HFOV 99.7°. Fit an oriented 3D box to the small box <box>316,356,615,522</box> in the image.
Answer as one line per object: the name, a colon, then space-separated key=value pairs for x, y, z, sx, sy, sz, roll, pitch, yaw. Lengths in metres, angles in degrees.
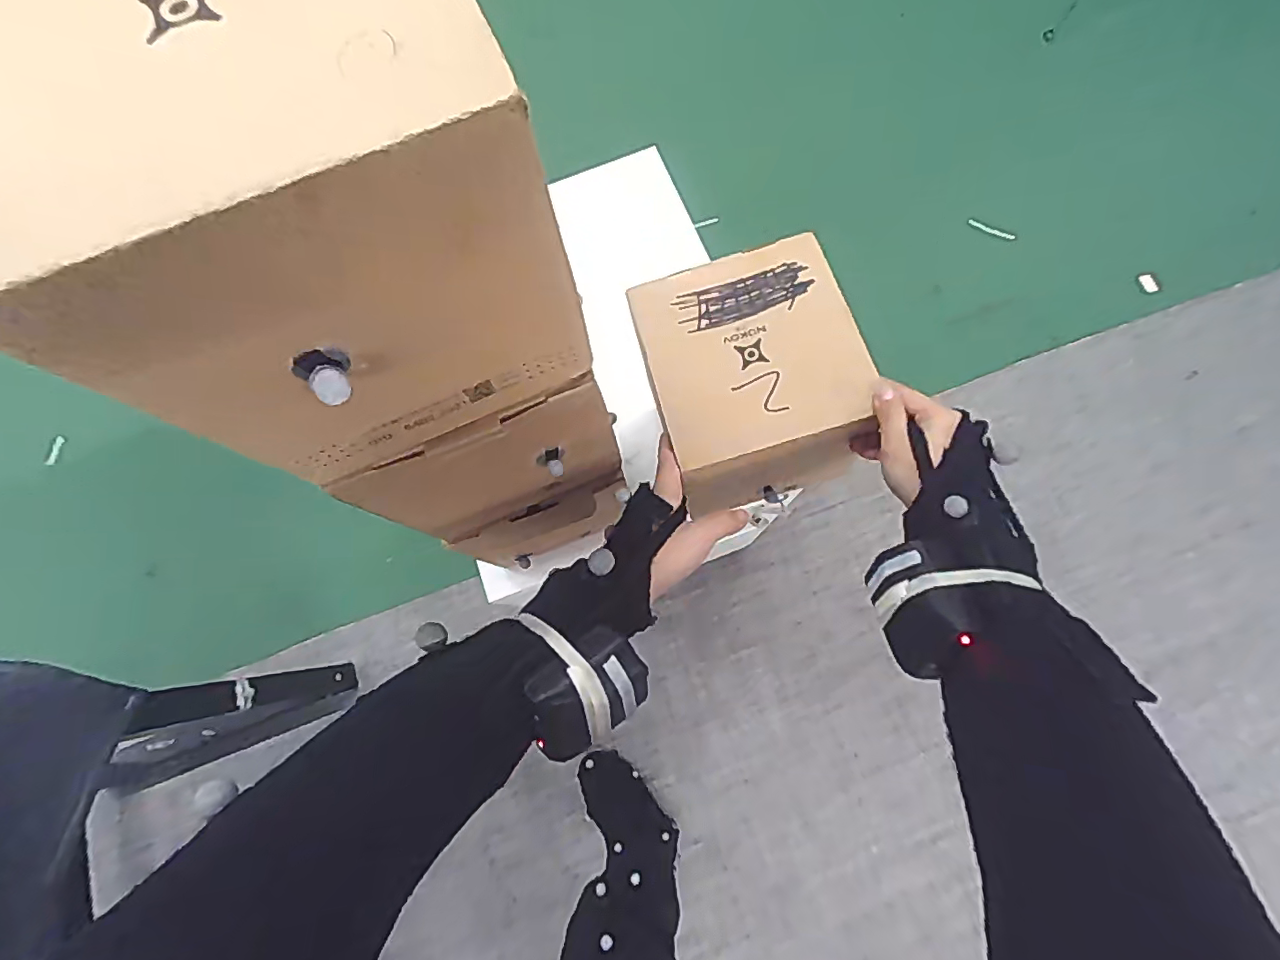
small box: x=-0.125 y=-0.080 z=0.399 sx=0.168 sy=0.176 sz=0.179 roll=-22 pitch=74 yaw=-5

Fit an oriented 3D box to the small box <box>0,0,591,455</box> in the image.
small box: x=-0.133 y=-0.127 z=0.243 sx=0.168 sy=0.176 sz=0.179 roll=-24 pitch=74 yaw=-4

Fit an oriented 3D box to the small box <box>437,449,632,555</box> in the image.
small box: x=-0.113 y=-0.031 z=0.553 sx=0.168 sy=0.176 sz=0.179 roll=-20 pitch=74 yaw=-3
